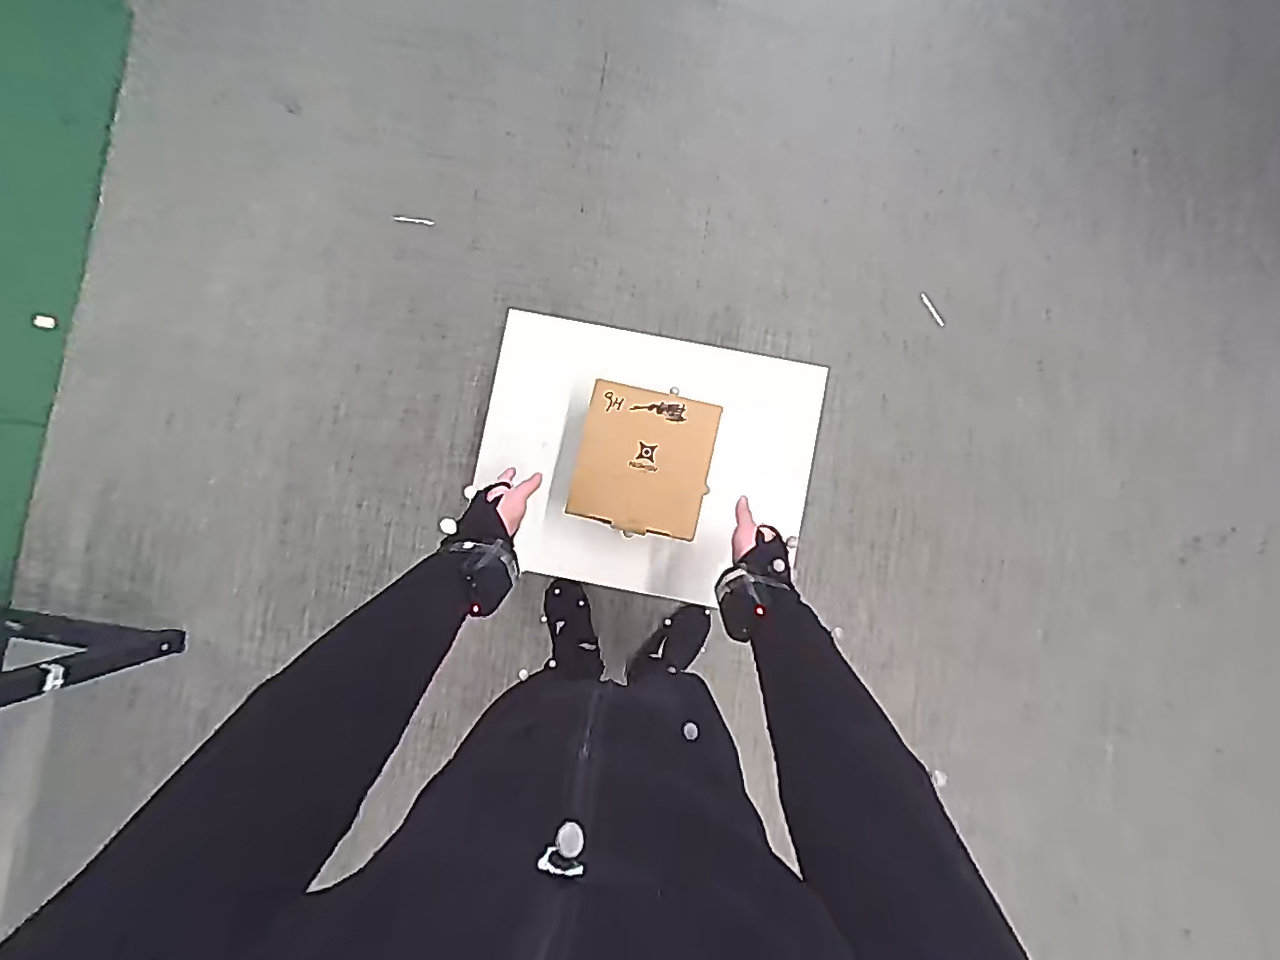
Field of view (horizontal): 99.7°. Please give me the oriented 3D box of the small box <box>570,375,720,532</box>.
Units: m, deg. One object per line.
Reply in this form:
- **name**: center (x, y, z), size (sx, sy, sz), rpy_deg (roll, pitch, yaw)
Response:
- **small box**: center (0.008, -0.029, 0.761), size (0.168, 0.176, 0.179), rpy_deg (11, 86, 2)
